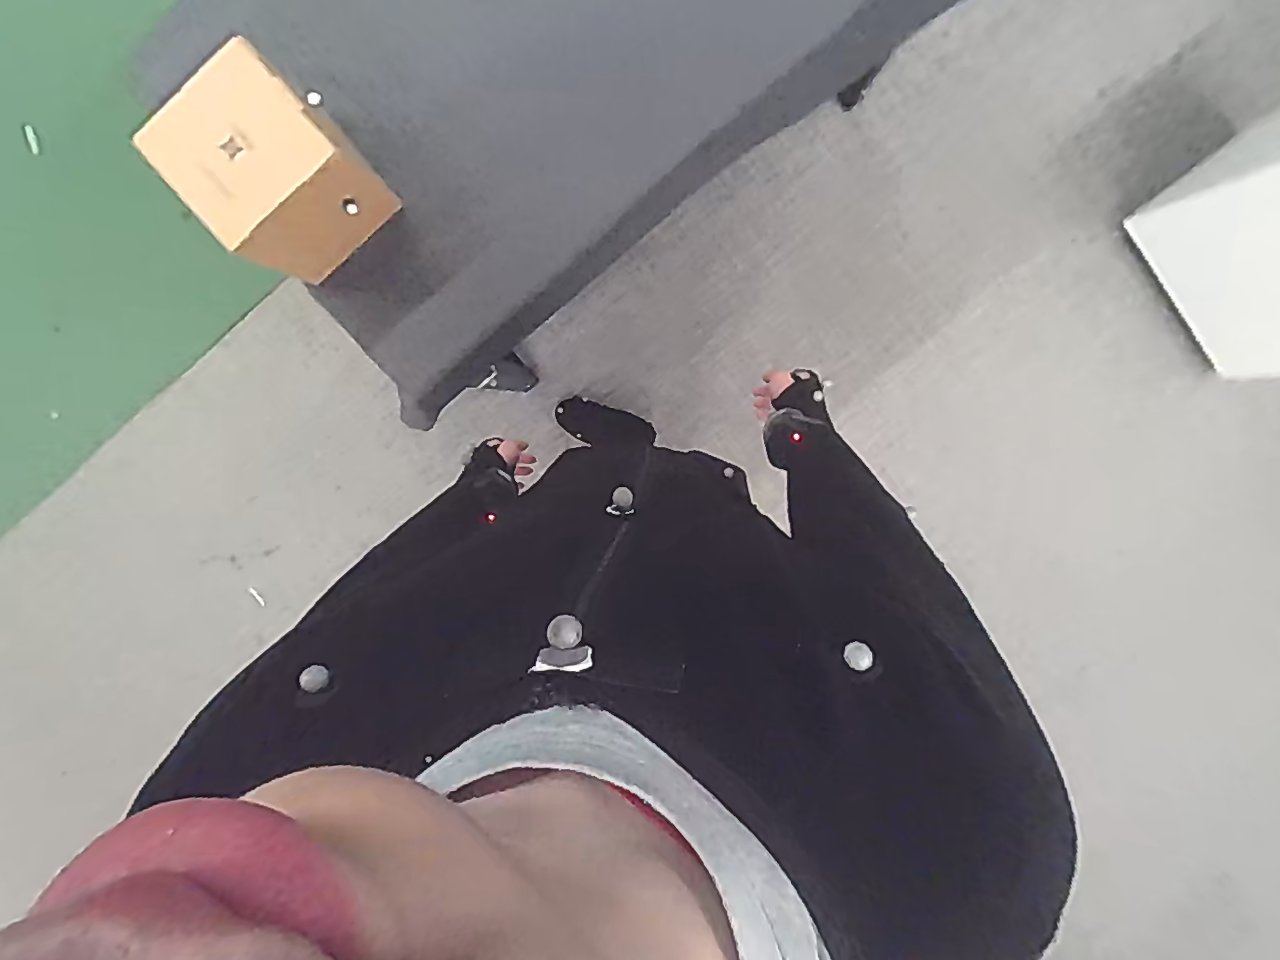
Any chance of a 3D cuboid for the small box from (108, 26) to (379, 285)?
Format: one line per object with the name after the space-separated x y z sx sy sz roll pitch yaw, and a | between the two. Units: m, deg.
-0.454 -0.372 0.658 0.179 0.176 0.168 -41 95 5 | small box
